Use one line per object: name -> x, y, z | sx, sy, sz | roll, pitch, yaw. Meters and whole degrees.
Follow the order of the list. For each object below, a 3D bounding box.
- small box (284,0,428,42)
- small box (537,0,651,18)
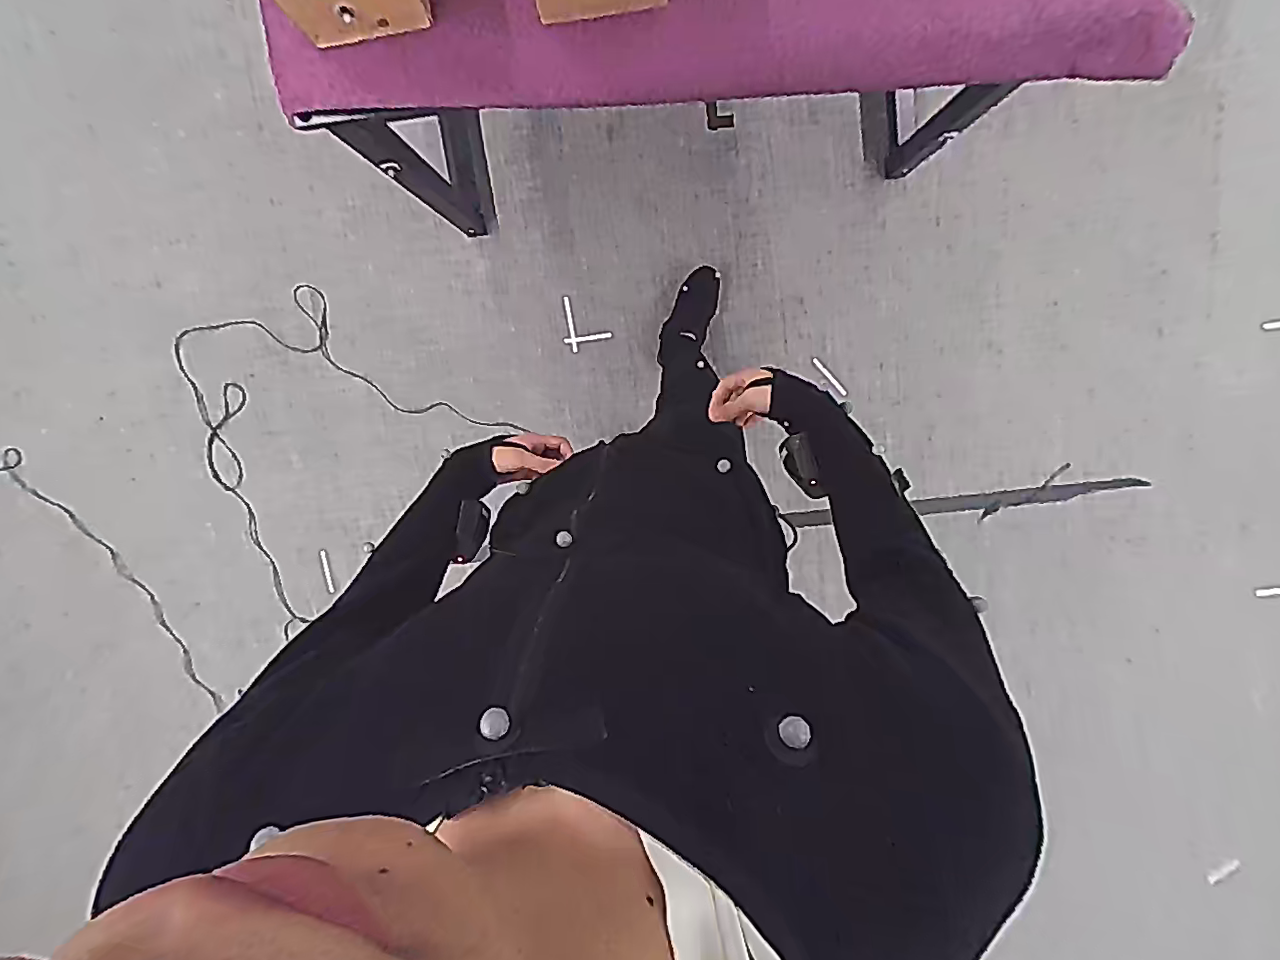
small box -> -0.380, -0.682, 0.647 | 0.168, 0.176, 0.179 | -11, 101, 1
small box -> -0.058, -0.698, 0.640 | 0.179, 0.176, 0.168 | -7, 101, 3
